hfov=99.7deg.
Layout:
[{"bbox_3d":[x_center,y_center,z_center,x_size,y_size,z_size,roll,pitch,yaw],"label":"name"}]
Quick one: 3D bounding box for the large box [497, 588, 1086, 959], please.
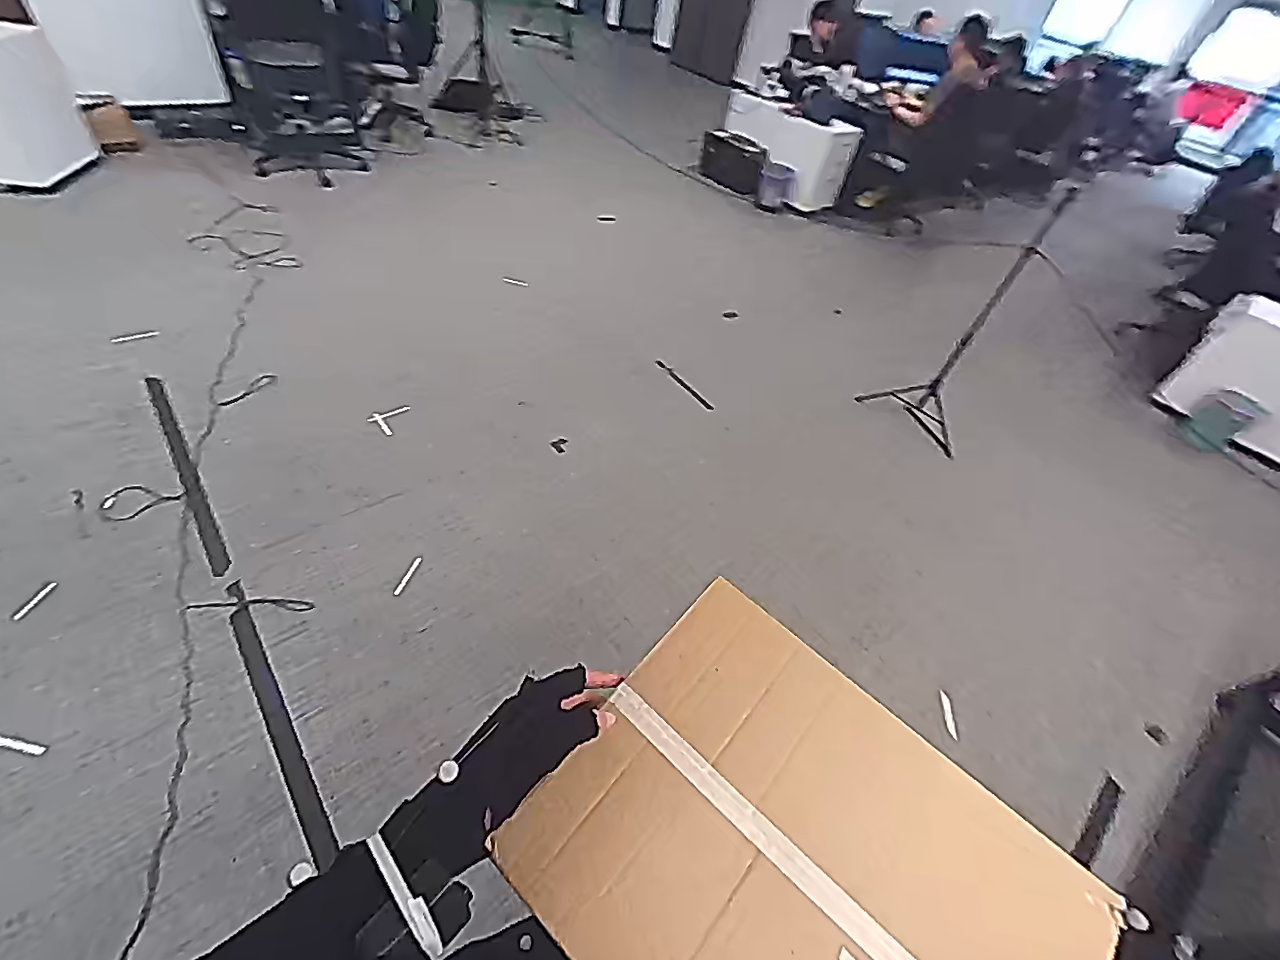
[{"bbox_3d":[0.116,0.396,0.568,0.408,0.320,0.320,38,62,19],"label":"large box"}]
